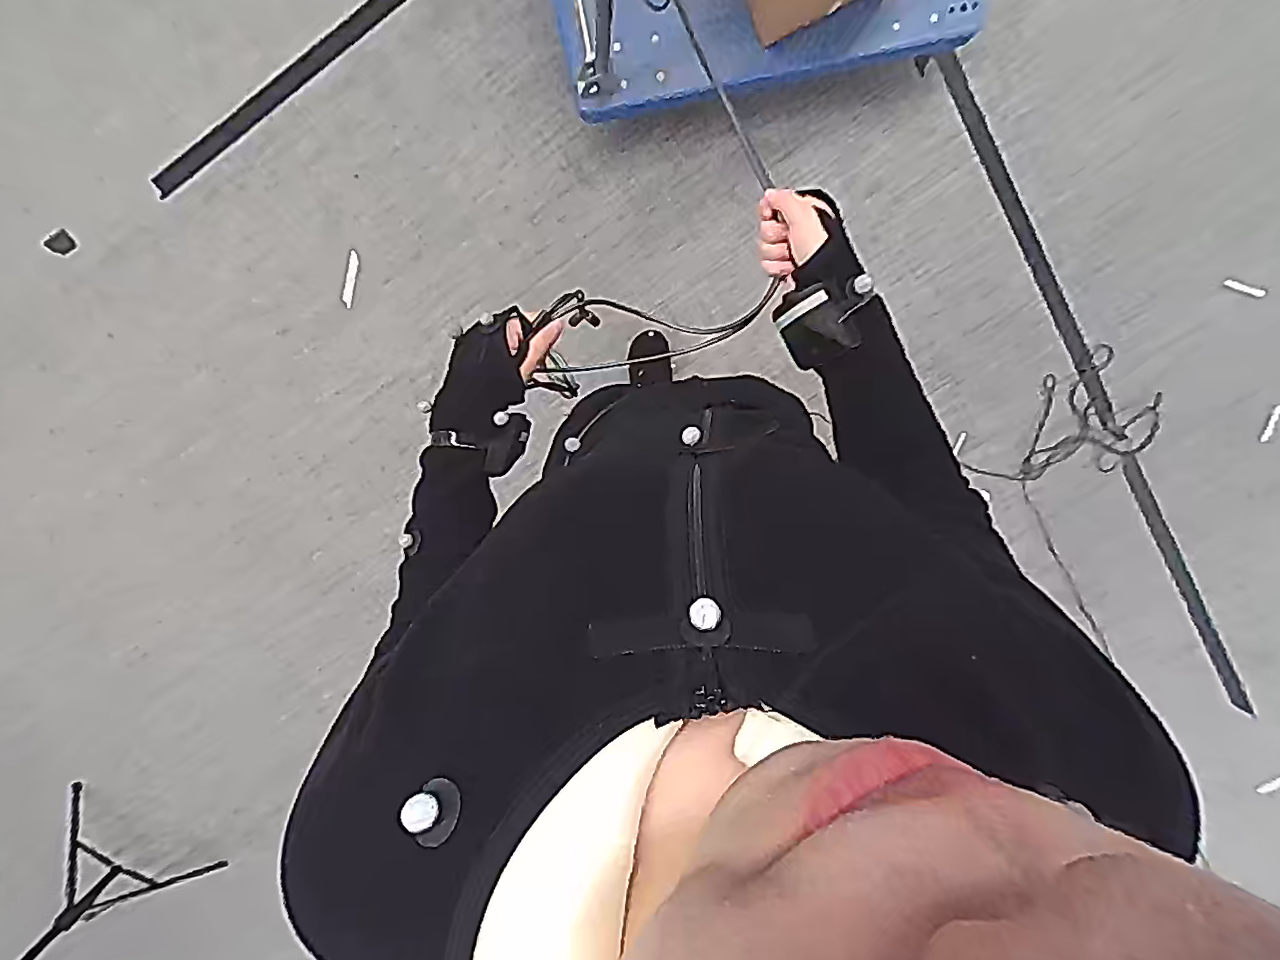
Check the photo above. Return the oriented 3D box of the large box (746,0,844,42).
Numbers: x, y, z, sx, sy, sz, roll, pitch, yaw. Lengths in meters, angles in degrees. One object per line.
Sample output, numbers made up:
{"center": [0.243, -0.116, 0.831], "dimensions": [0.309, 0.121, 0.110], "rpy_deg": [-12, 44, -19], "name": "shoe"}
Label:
{"center": [0.305, -1.104, 0.921], "dimensions": [0.320, 0.320, 0.408], "rpy_deg": [-26, 103, 5], "name": "large box"}
